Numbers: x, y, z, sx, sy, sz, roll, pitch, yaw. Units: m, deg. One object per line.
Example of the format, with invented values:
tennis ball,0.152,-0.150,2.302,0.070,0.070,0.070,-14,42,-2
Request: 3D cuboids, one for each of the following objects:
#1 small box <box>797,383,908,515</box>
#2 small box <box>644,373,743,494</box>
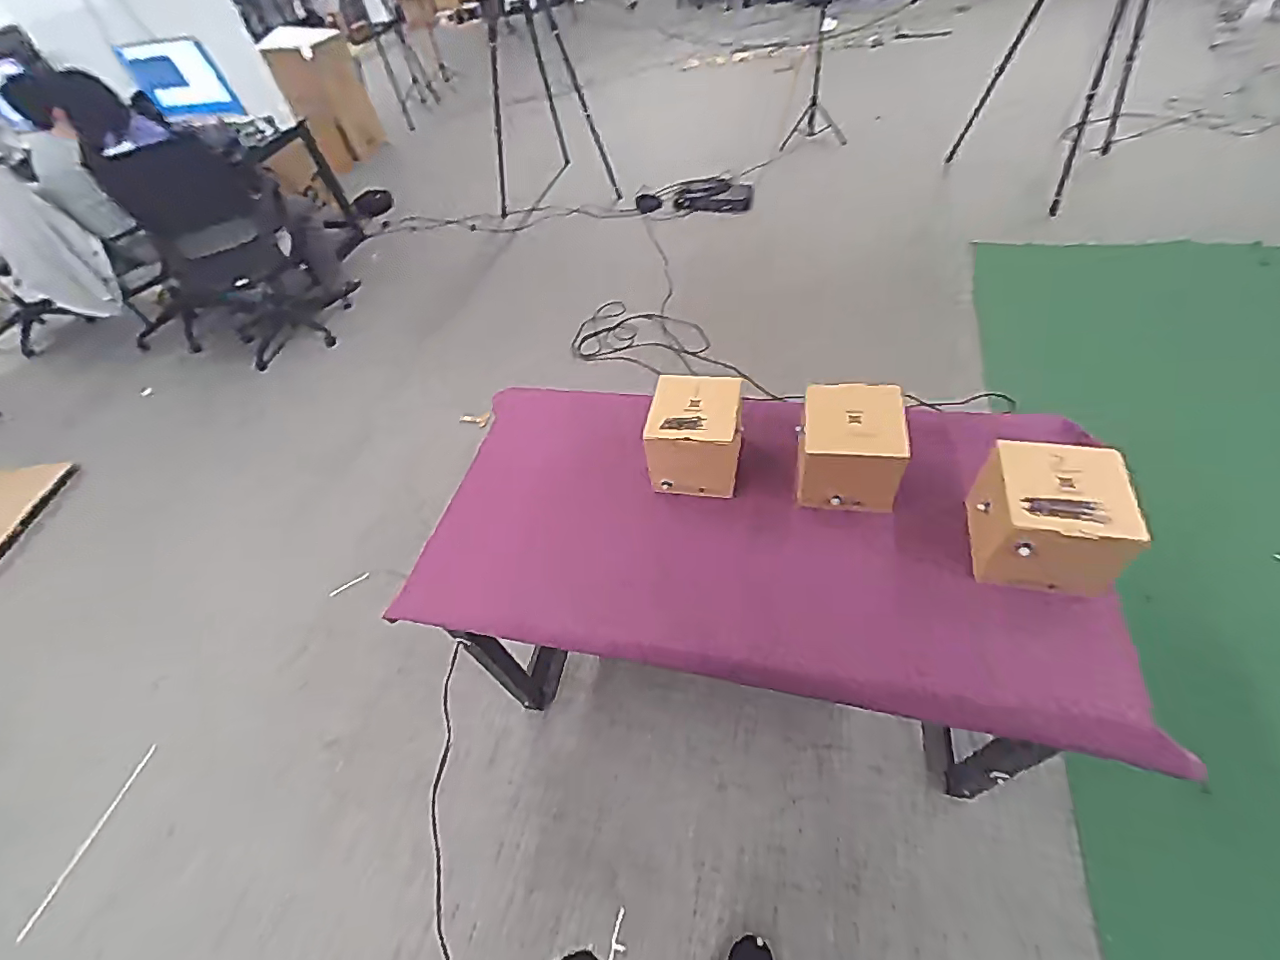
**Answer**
small box,0.388,-0.058,1.013,0.168,0.176,0.179,5,53,14
small box,0.114,-0.090,1.082,0.168,0.176,0.179,6,52,14
